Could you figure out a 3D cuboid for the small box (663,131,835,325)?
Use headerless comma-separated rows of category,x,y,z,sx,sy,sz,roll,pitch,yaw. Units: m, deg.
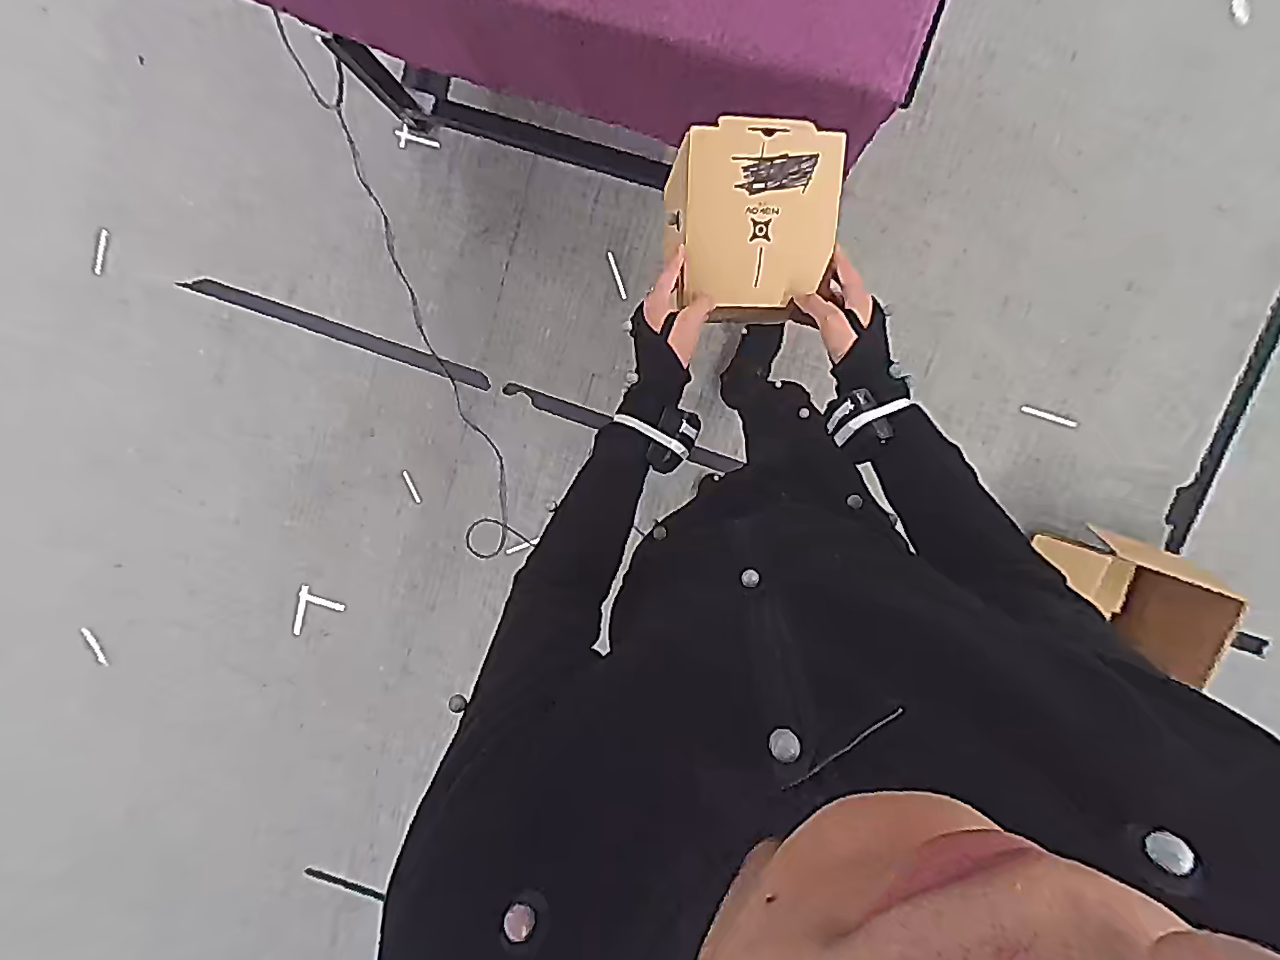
small box,0.119,-0.290,0.659,0.168,0.176,0.179,-1,100,-5
